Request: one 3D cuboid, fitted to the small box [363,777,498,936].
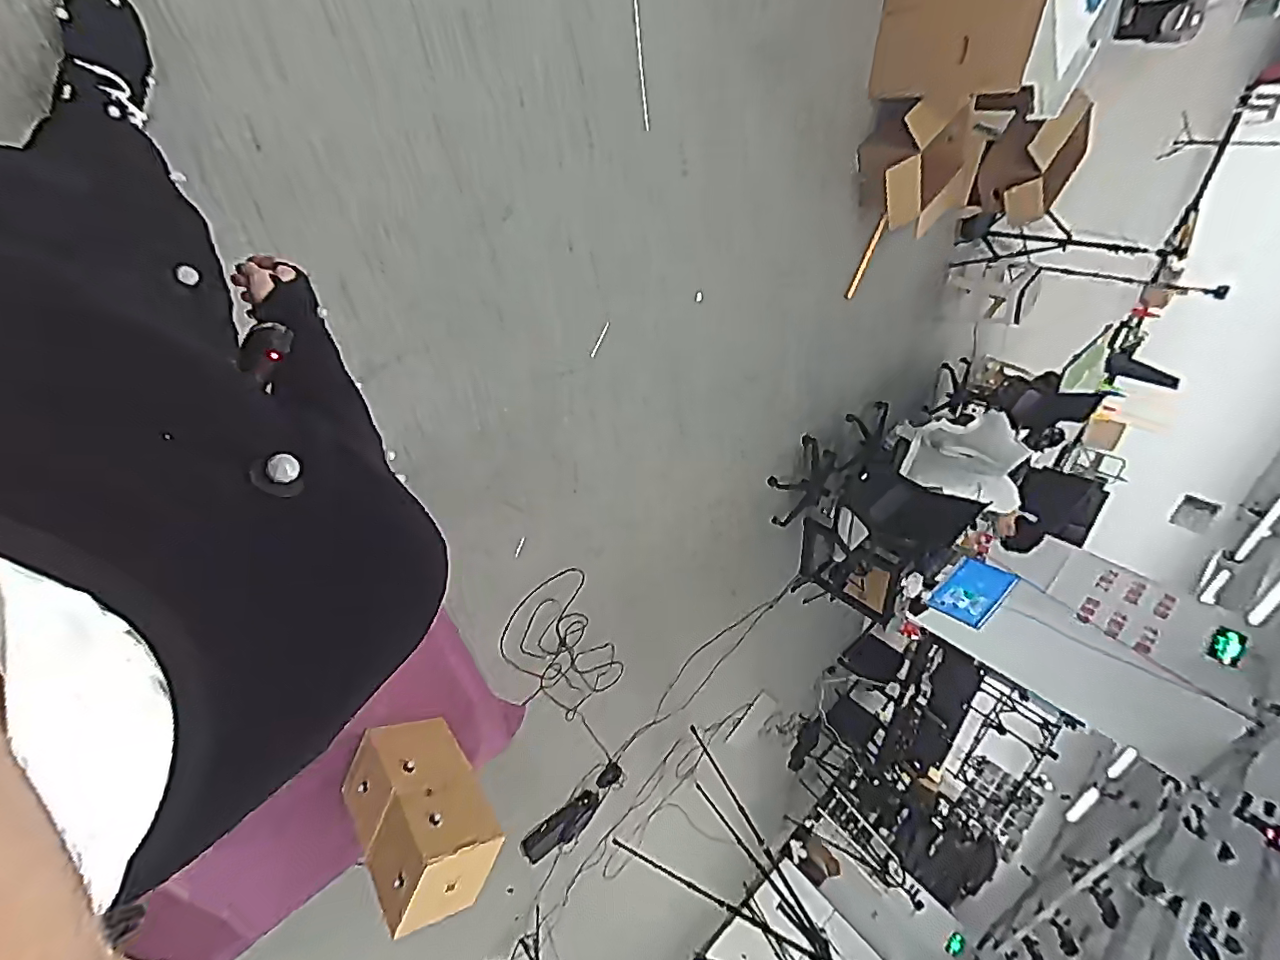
[{"bbox_3d":[-0.413,0.714,1.056,0.168,0.176,0.179,16,103,-48],"label":"small box"}]

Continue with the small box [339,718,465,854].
[{"bbox_3d":[-0.516,0.641,1.160,0.179,0.176,0.168,15,104,-49],"label":"small box"}]
